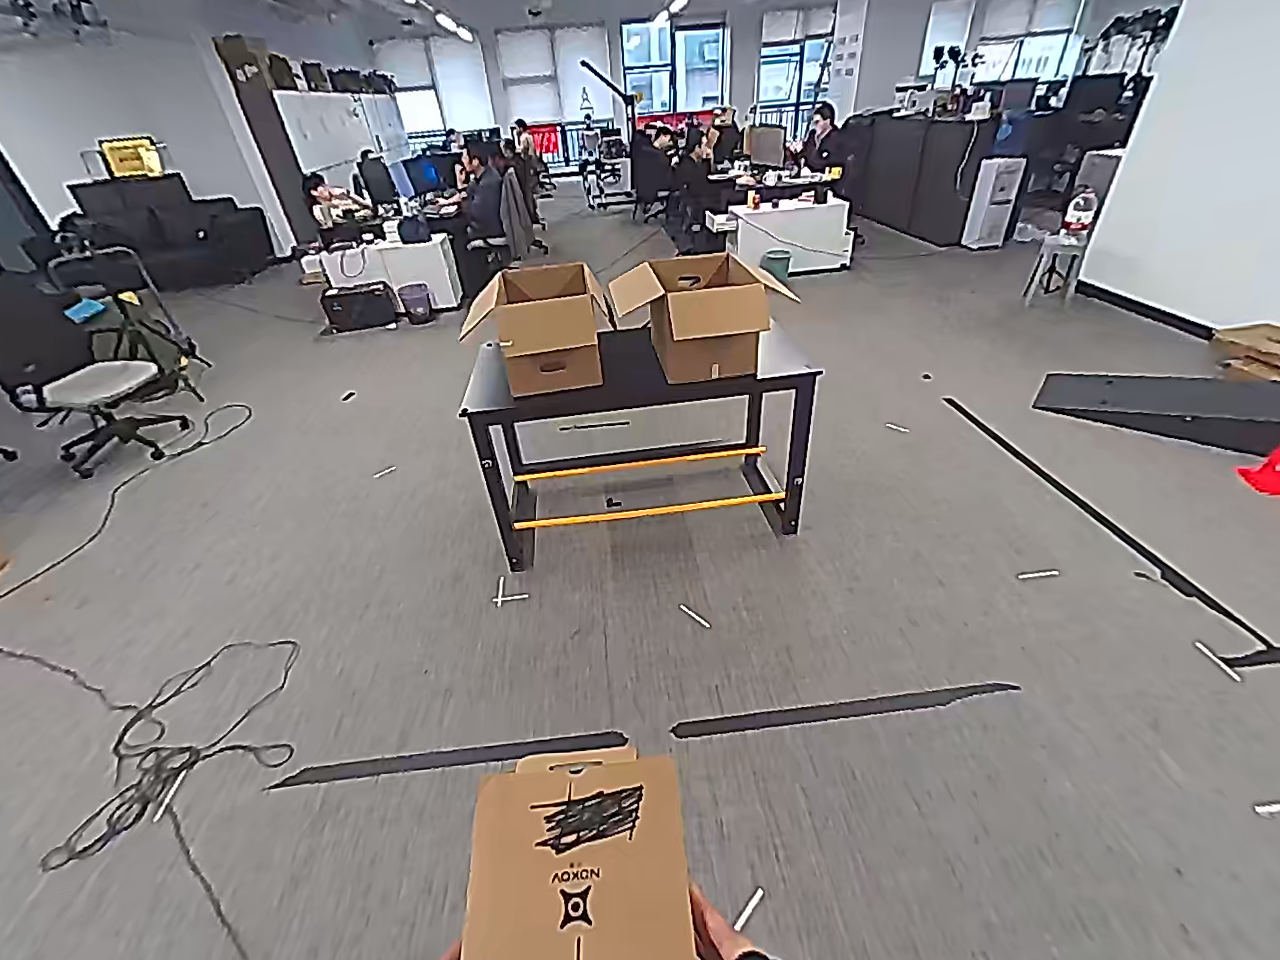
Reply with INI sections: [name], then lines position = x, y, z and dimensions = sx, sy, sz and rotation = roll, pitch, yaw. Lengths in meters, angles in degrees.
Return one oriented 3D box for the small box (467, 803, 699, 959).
[small box]
position = -0.039, 0.390, 0.442
dimensions = 0.168, 0.176, 0.179
rotation = -6, 47, -2
